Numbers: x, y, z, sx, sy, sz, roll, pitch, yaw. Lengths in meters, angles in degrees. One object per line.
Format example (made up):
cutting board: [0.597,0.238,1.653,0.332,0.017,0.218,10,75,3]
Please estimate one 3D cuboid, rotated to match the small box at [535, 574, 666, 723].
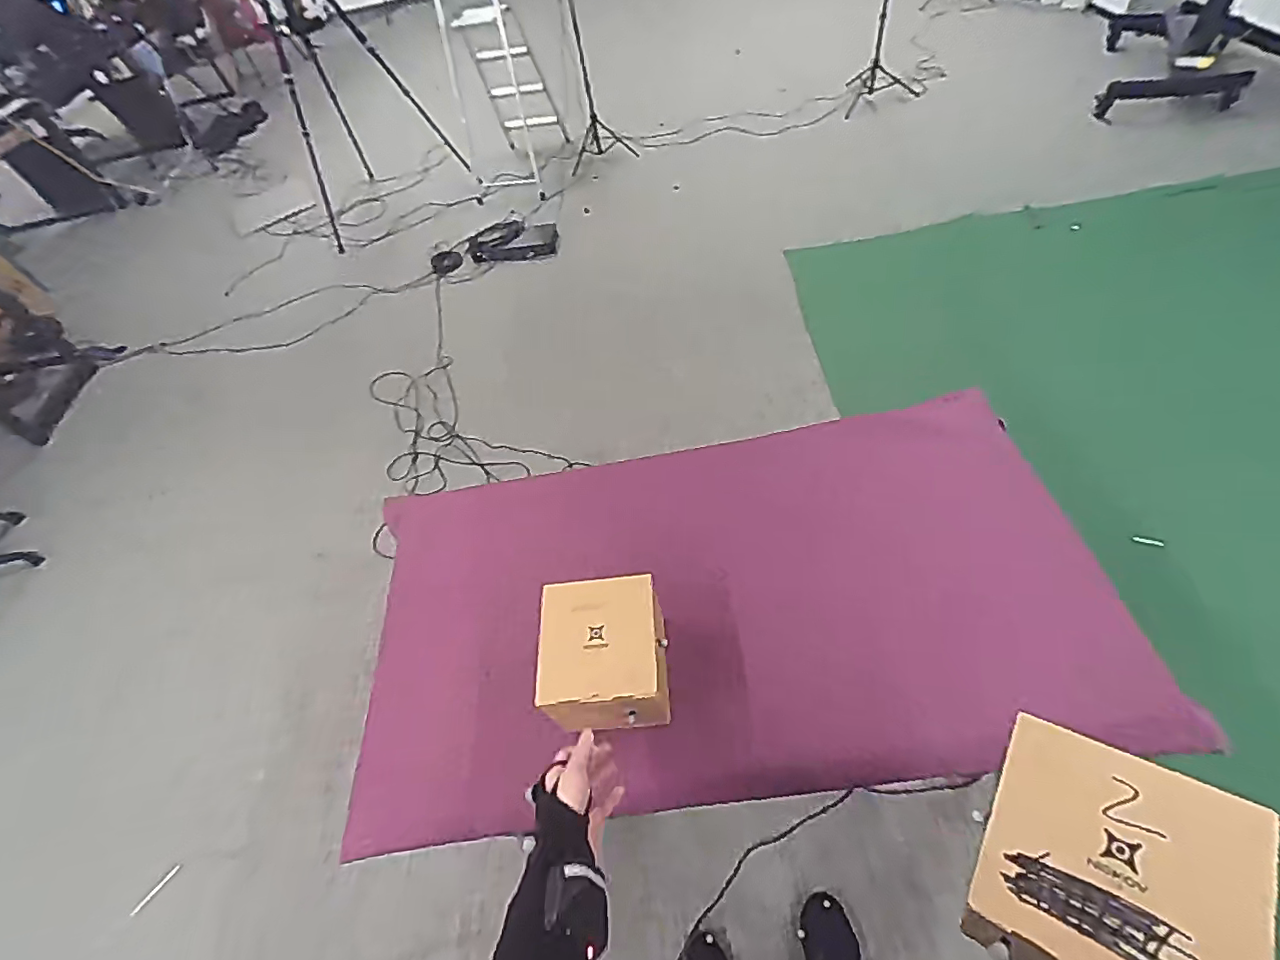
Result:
small box: [-0.052,0.264,0.826,0.168,0.176,0.179,-6,53,5]
